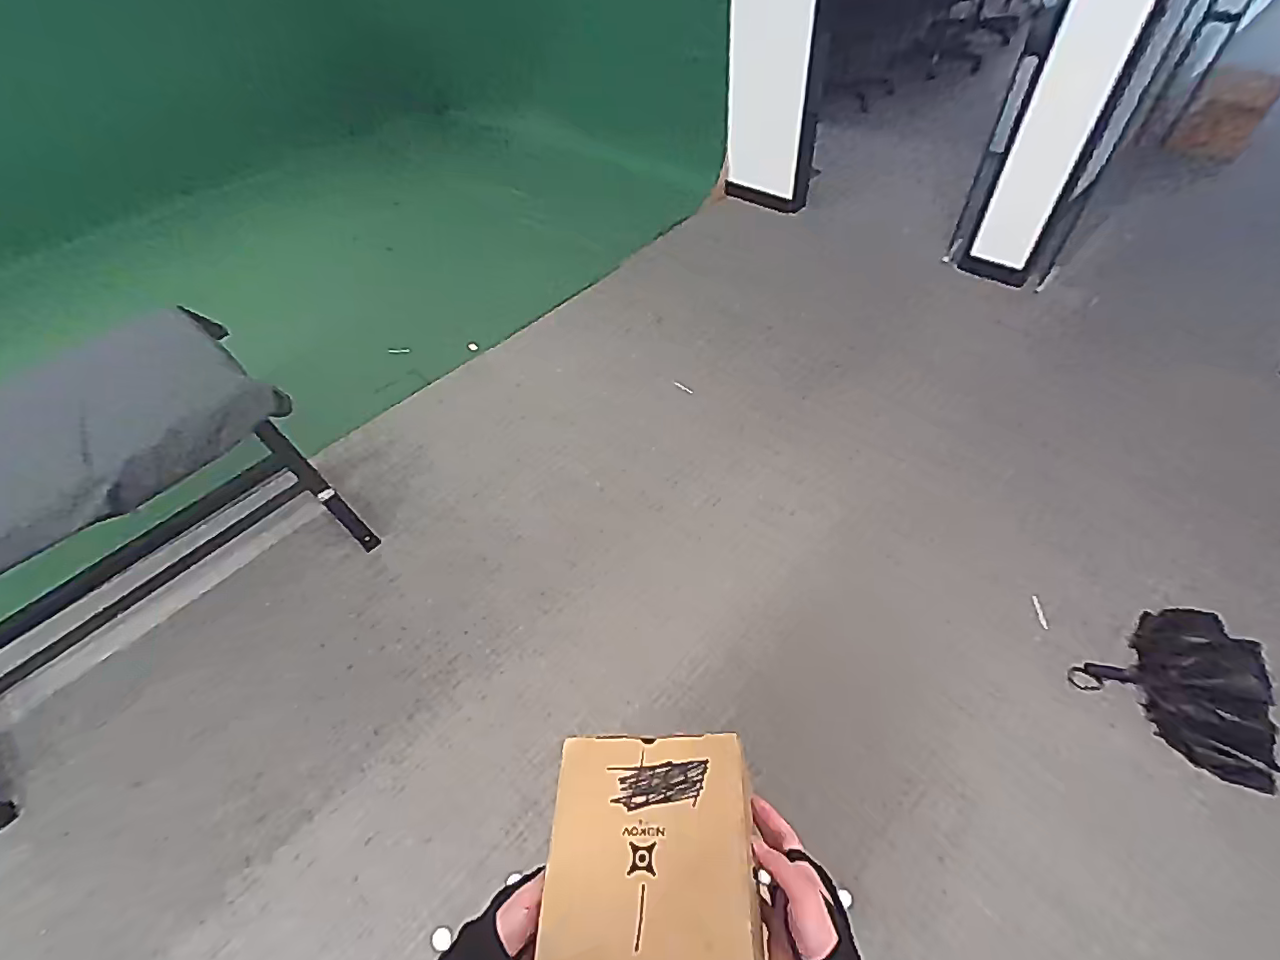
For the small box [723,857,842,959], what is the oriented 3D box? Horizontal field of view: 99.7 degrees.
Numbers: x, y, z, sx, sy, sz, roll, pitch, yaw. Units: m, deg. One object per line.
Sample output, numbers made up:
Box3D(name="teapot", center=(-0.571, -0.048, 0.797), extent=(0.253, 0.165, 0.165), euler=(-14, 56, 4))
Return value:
Box3D(name="small box", center=(0.285, 0.929, 1.127), extent=(0.179, 0.176, 0.168), euler=(-31, 53, -16))
